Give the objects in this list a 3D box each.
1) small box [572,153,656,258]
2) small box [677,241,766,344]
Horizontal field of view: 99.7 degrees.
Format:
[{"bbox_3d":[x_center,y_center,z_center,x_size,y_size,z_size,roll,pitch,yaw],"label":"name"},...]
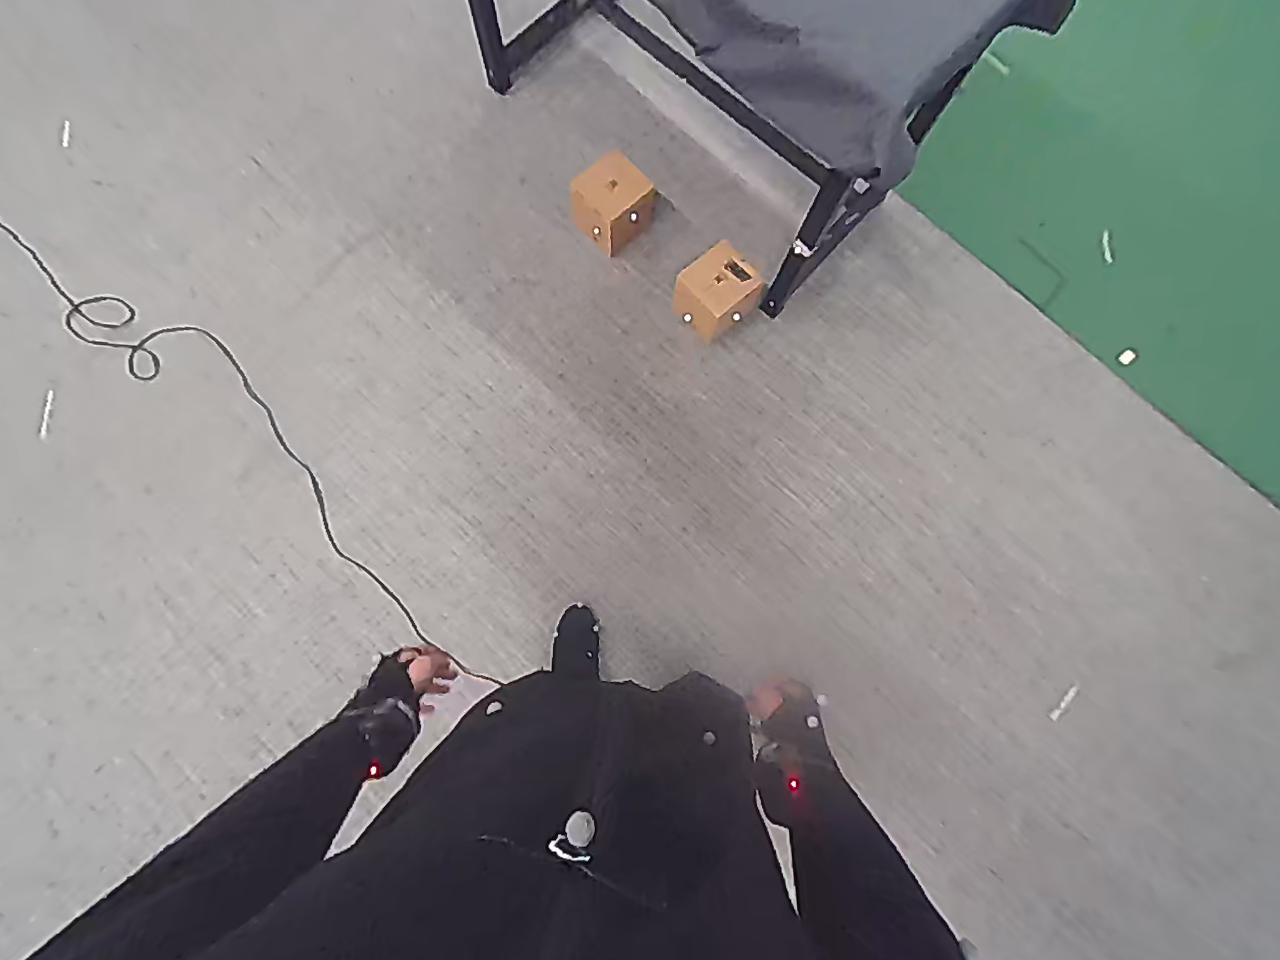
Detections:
[{"bbox_3d":[-0.074,-0.789,1.571,0.179,0.176,0.168,-44,84,-11],"label":"small box"},{"bbox_3d":[0.219,-0.519,1.517,0.179,0.176,0.168,-40,82,-8],"label":"small box"}]
